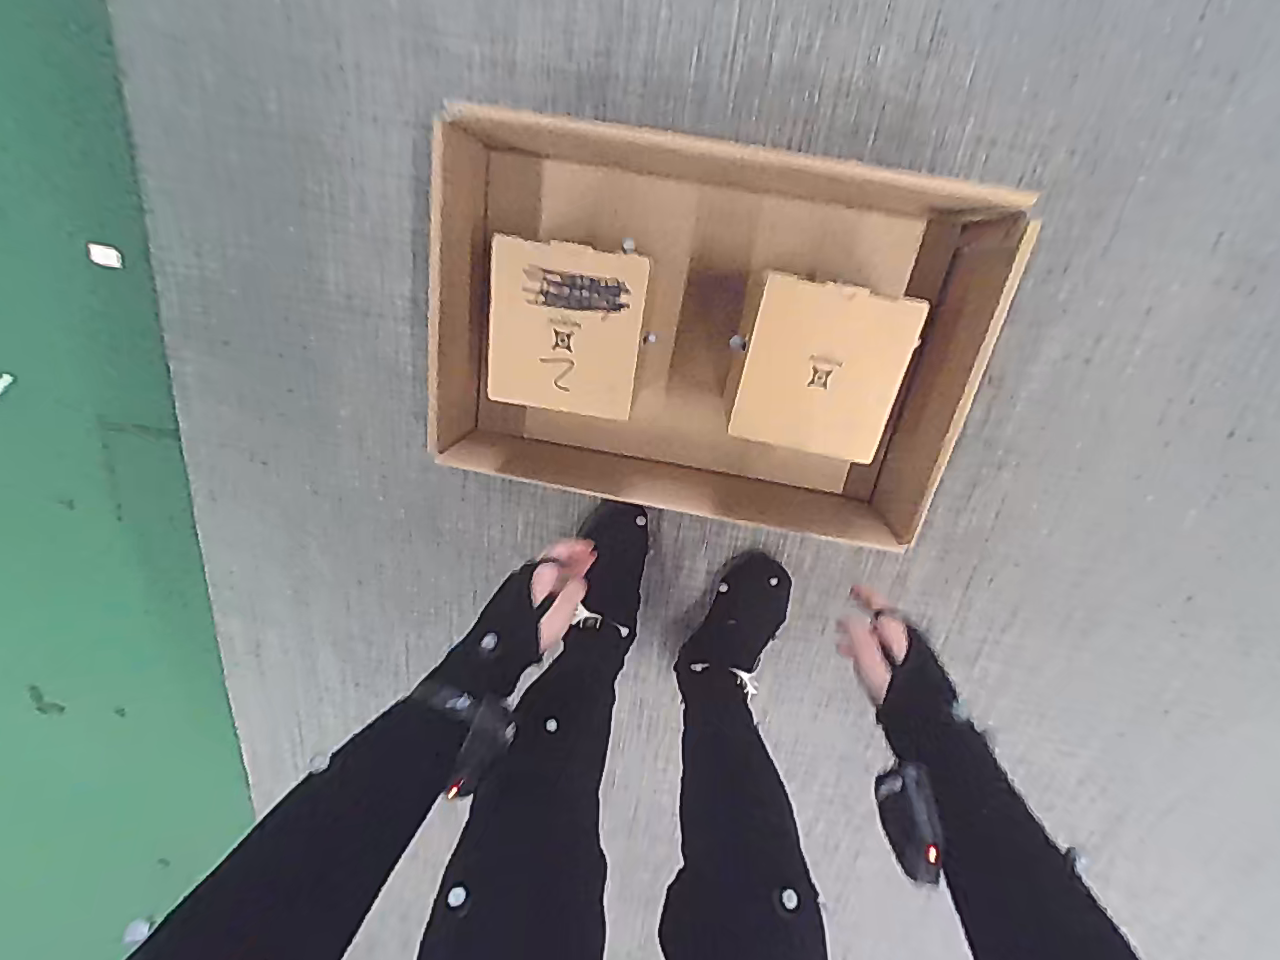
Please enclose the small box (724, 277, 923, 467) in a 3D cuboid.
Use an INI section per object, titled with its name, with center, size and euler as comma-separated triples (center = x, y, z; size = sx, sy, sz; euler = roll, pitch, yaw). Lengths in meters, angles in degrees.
[small box]
center = 0.202, -0.138, 0.650
size = 0.168, 0.176, 0.179
euler = 12, 111, 3
